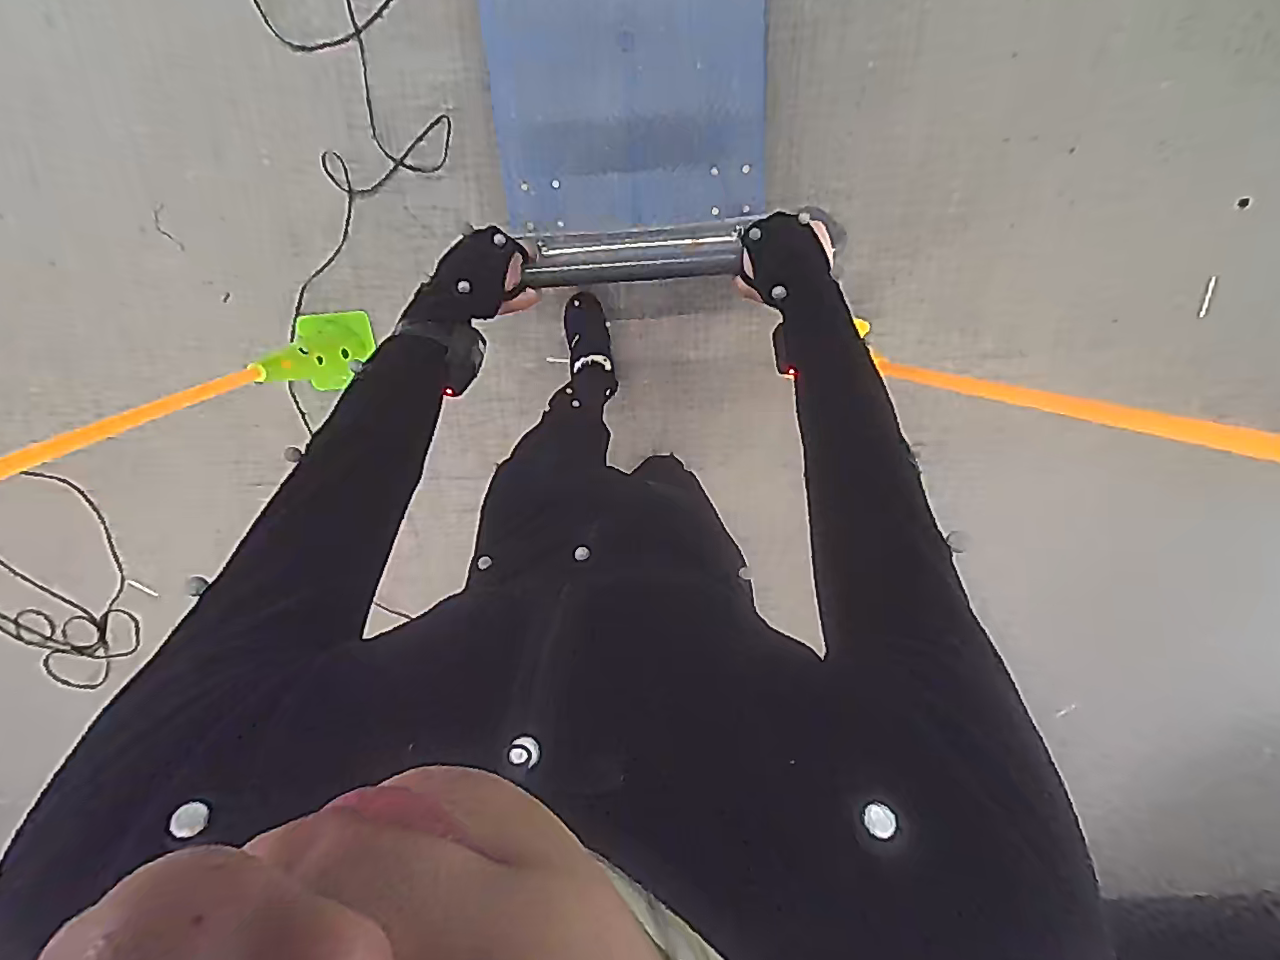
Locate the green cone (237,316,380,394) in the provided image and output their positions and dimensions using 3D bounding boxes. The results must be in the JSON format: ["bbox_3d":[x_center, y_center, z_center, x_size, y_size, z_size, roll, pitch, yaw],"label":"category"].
[{"bbox_3d":[-0.825,-0.280,1.307,0.202,0.368,0.200,-5,109,3],"label":"green cone"}]
